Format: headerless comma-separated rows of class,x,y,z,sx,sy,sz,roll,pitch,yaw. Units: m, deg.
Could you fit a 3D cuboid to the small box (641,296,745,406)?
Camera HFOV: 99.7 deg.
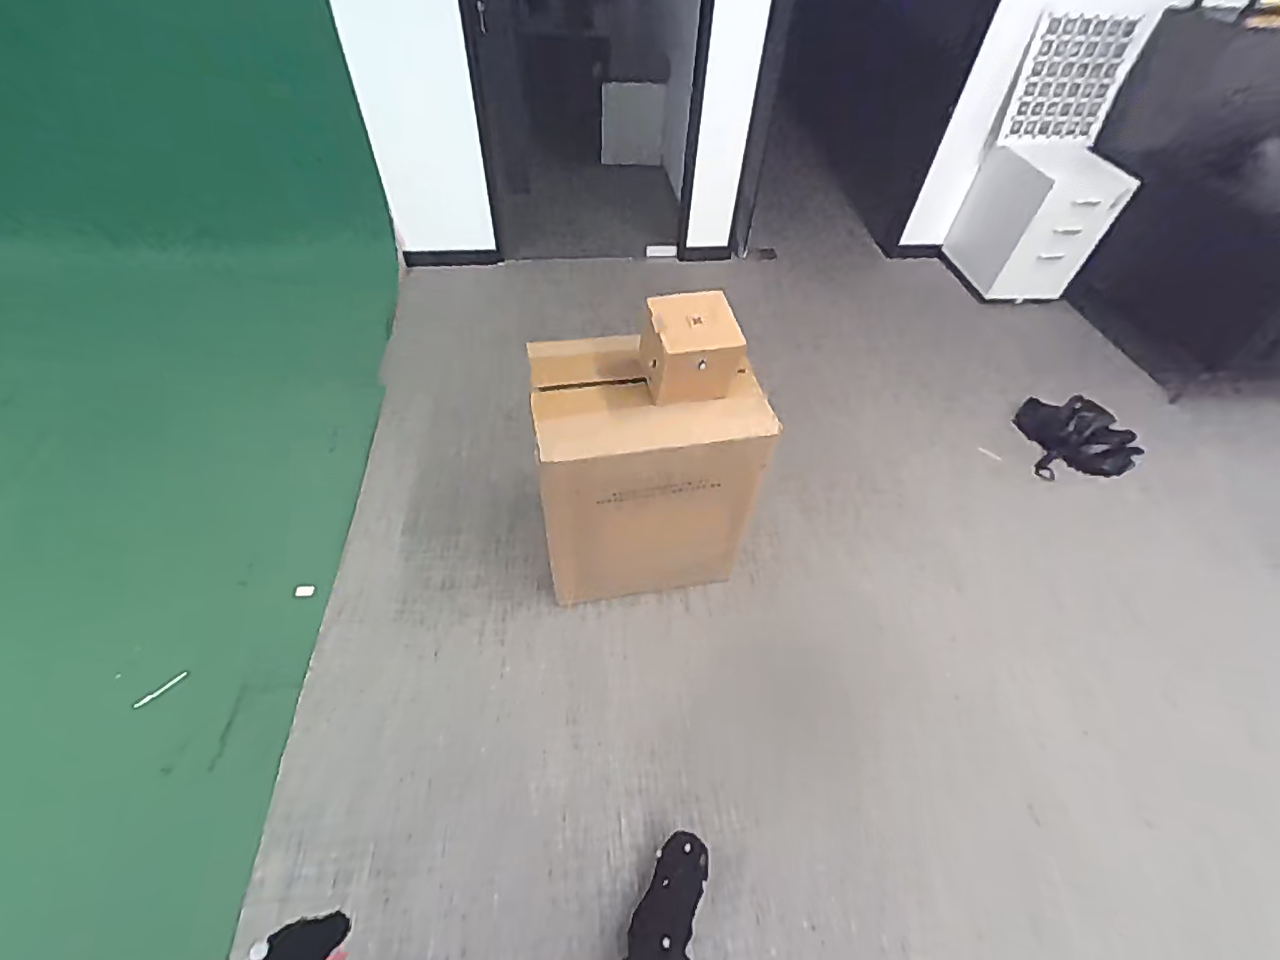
small box,0.105,-0.280,1.194,0.179,0.176,0.168,-9,61,-13
